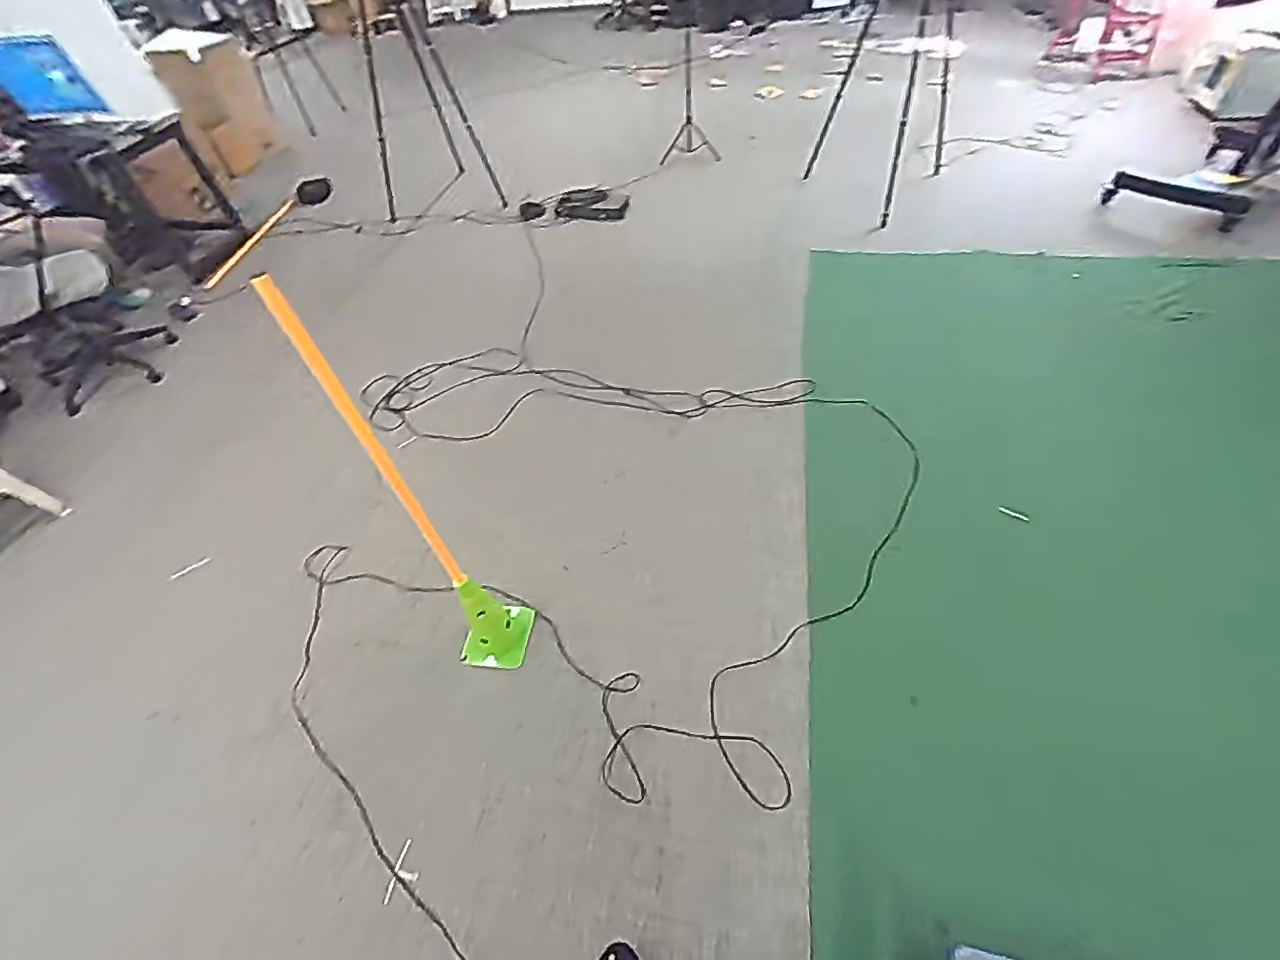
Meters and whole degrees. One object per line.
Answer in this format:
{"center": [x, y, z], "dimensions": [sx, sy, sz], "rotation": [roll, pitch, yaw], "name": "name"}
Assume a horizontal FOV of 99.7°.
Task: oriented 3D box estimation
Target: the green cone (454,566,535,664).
{"center": [-0.463, 0.369, 1.585], "dimensions": [0.200, 0.368, 0.202], "rotation": [2, 49, 8], "name": "green cone"}
